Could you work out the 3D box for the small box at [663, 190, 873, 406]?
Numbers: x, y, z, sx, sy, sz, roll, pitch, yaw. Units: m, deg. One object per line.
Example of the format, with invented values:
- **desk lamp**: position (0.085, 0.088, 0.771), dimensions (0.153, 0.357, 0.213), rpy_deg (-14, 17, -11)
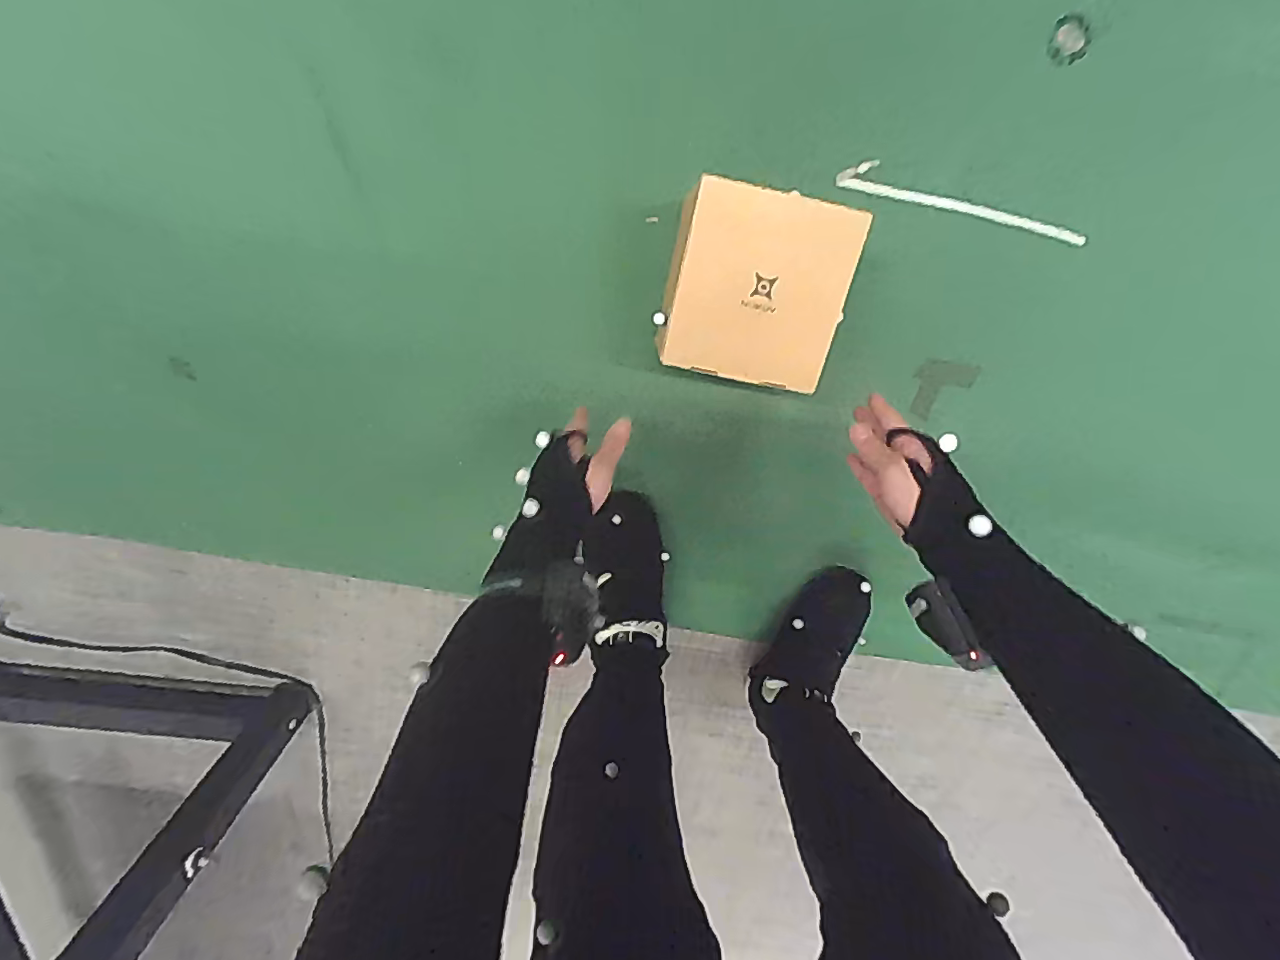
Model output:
- **small box**: position (0.122, -0.199, 0.602), dimensions (0.168, 0.176, 0.179), rpy_deg (10, 111, -4)
